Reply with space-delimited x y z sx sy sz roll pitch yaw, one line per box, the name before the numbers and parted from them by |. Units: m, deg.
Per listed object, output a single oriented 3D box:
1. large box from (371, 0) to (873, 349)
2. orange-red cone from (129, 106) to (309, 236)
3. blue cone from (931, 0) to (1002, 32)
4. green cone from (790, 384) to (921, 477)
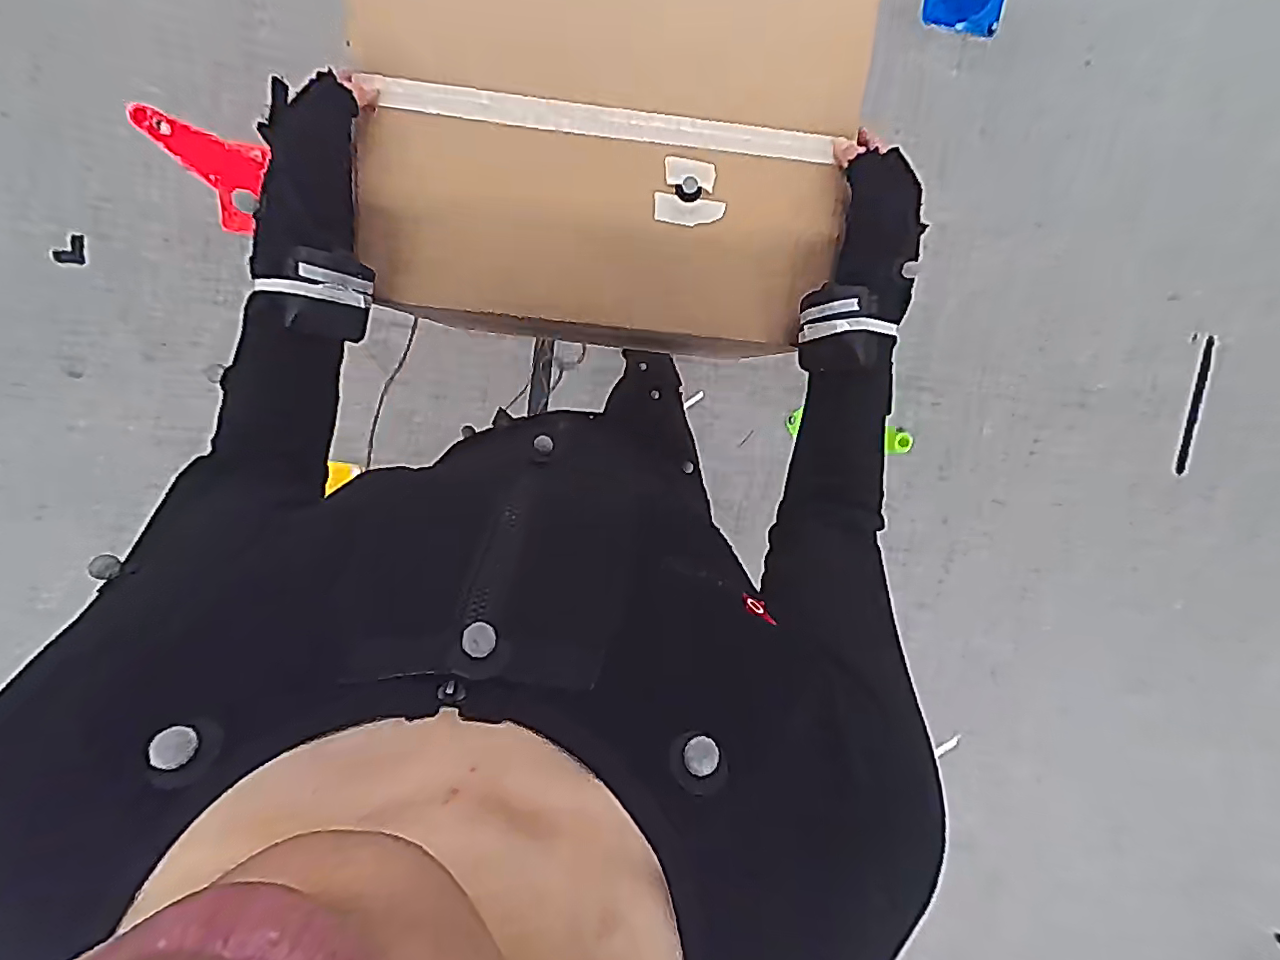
large box | -0.028 -0.324 0.589 0.408 0.320 0.320 5 101 -5
orange-red cone | -0.878 -0.659 1.113 0.198 0.360 0.199 4 100 -4
blue cone | 0.829 -1.194 1.166 0.192 0.380 0.193 9 98 -7
green cone | 0.545 -0.106 1.297 0.202 0.368 0.200 -31 100 0
